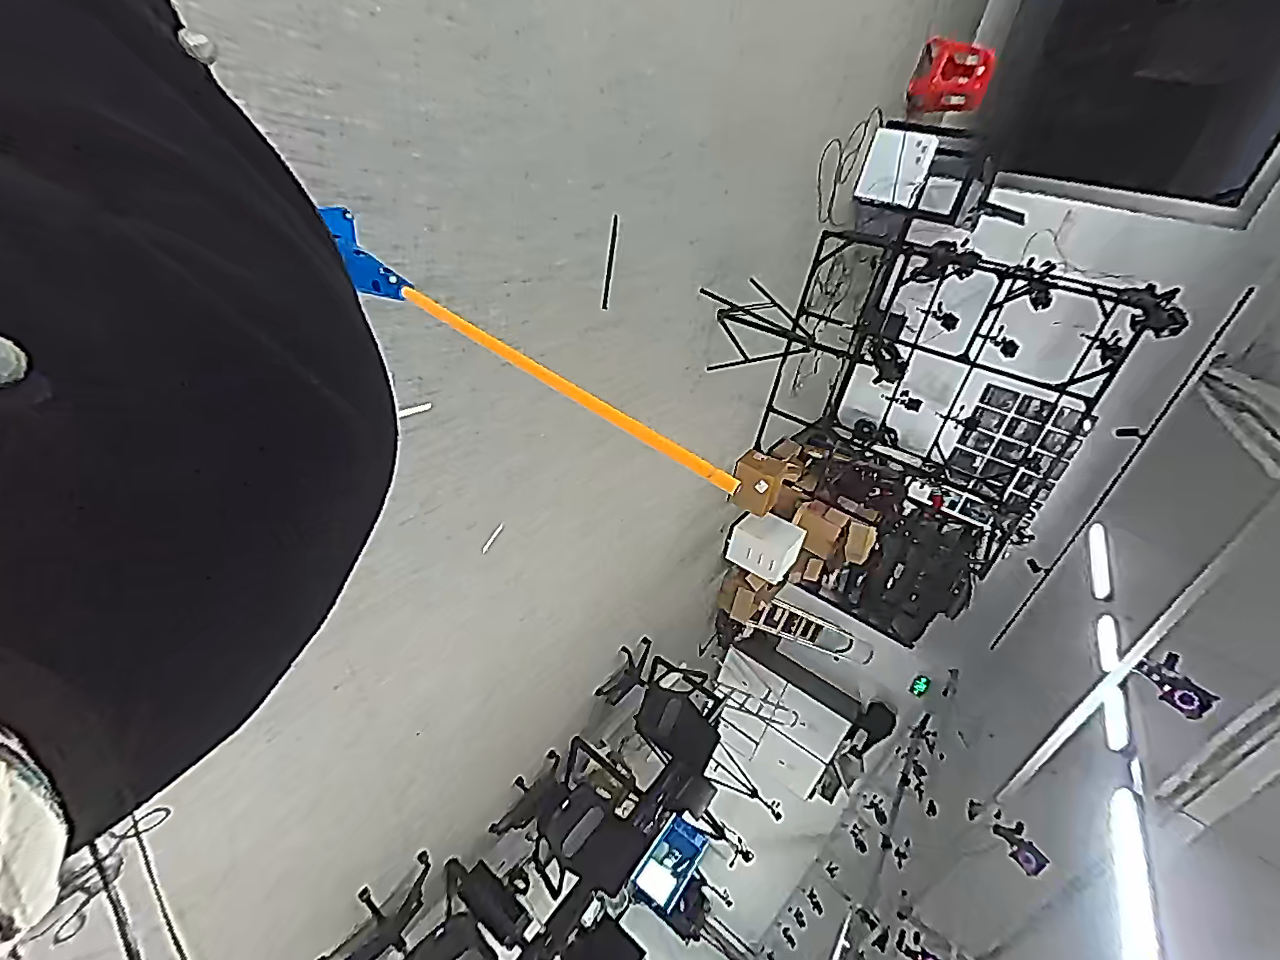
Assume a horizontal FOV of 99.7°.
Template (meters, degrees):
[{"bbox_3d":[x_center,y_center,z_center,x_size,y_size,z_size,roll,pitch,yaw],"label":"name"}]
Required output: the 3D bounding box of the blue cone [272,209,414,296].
[{"bbox_3d":[-0.647,-0.487,1.244,0.193,0.380,0.192,-32,140,-46],"label":"blue cone"}]
